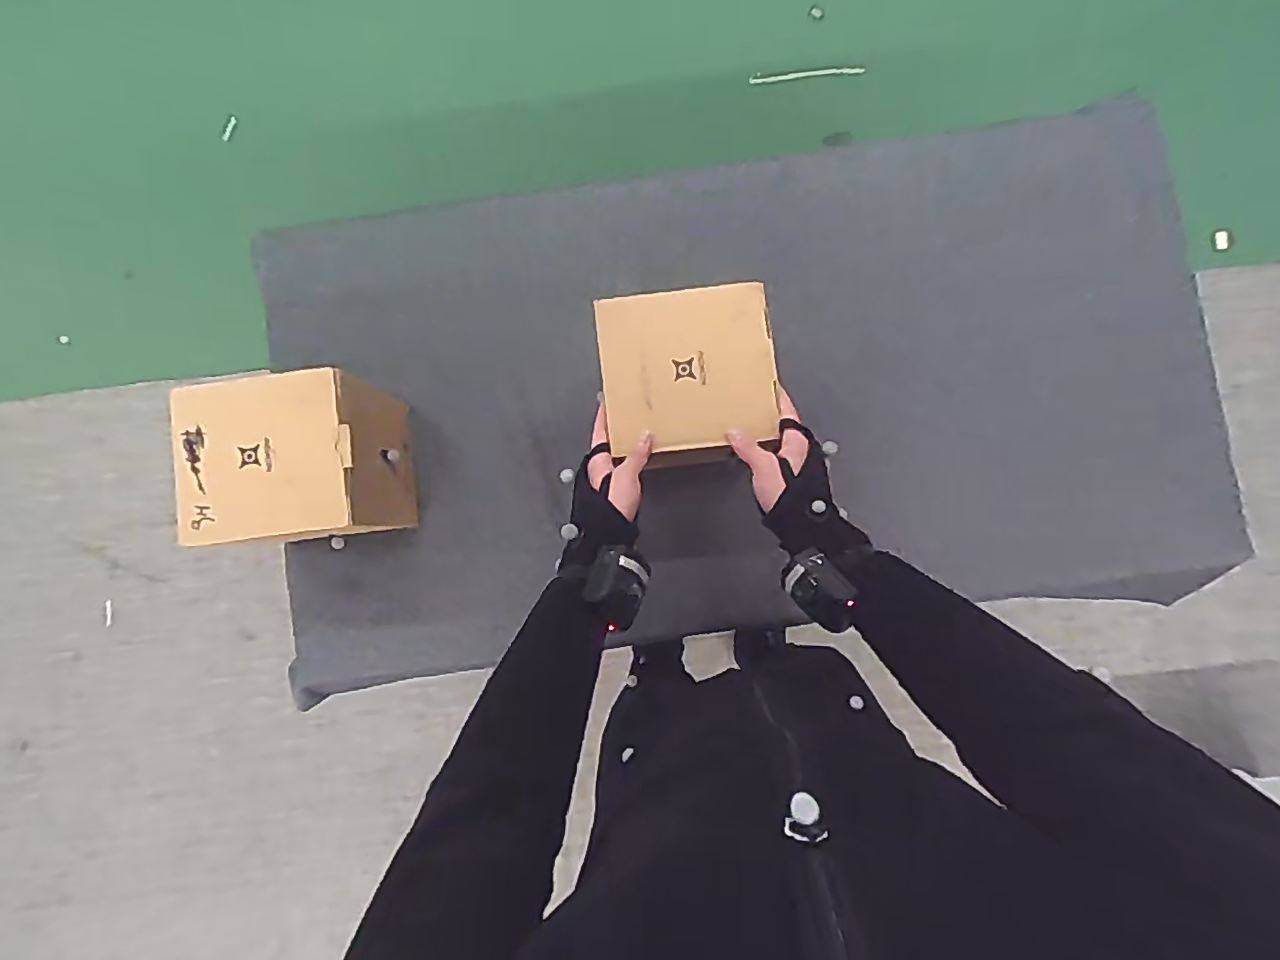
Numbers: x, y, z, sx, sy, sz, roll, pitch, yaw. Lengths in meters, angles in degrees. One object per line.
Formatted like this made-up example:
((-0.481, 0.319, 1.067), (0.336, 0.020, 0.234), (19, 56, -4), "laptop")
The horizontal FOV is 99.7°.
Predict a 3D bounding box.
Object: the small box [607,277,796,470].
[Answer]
((0.061, -0.108, 0.616), (0.179, 0.176, 0.168), (-7, 84, 1), "small box")

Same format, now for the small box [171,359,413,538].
((-0.371, -0.027, 0.610), (0.179, 0.176, 0.168), (-6, 85, -1), "small box")
